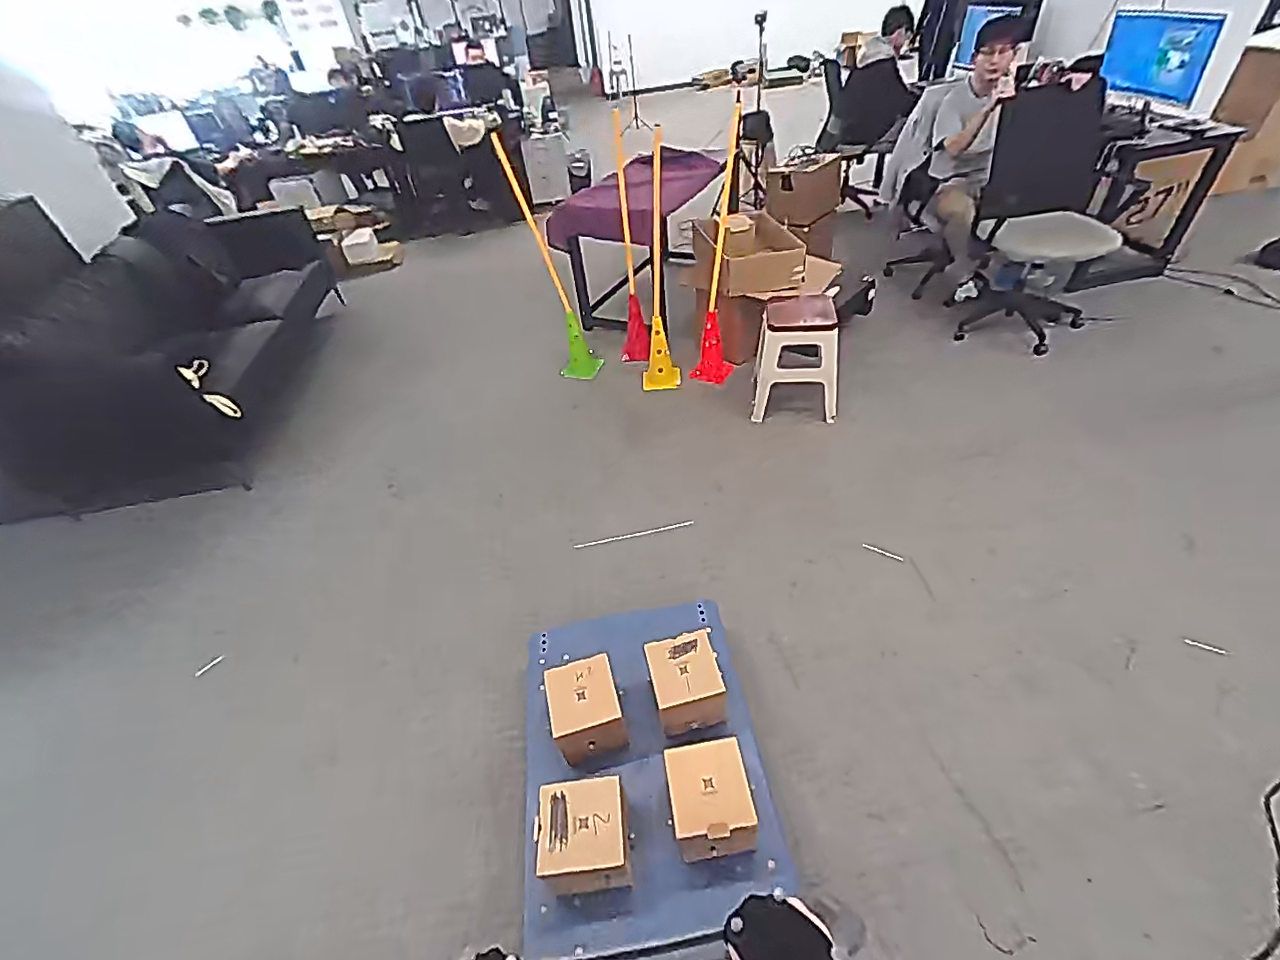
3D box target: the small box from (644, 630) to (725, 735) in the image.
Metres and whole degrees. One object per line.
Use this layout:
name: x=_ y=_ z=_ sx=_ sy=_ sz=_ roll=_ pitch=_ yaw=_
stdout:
small box: x=0.113 y=0.518 z=1.383 sx=0.168 sy=0.176 sz=0.179 roll=-13 pitch=43 yaw=-4

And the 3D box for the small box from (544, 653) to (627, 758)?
small box: x=-0.135 y=0.574 z=1.362 sx=0.168 sy=0.176 sz=0.179 roll=-14 pitch=43 yaw=-7

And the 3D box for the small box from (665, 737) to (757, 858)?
small box: x=0.151 y=0.697 z=1.186 sx=0.168 sy=0.176 sz=0.179 roll=-10 pitch=43 yaw=-2
